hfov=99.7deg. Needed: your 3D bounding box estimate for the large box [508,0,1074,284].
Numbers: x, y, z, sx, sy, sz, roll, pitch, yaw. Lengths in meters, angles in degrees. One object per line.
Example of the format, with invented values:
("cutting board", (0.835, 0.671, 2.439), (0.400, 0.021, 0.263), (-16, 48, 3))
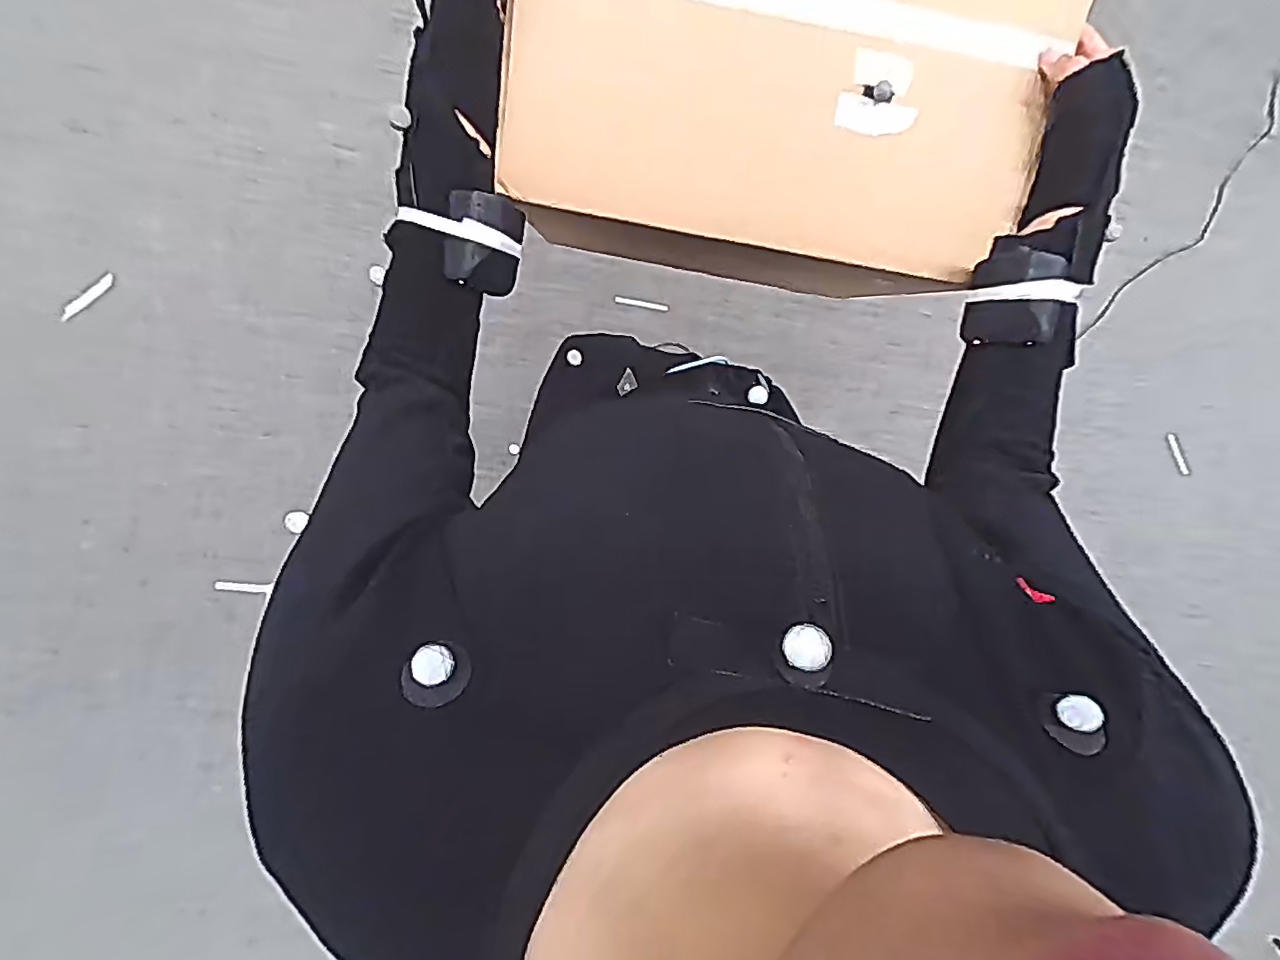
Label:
("large box", (0.105, -0.388, 0.529), (0.408, 0.320, 0.320), (8, 108, -6))
